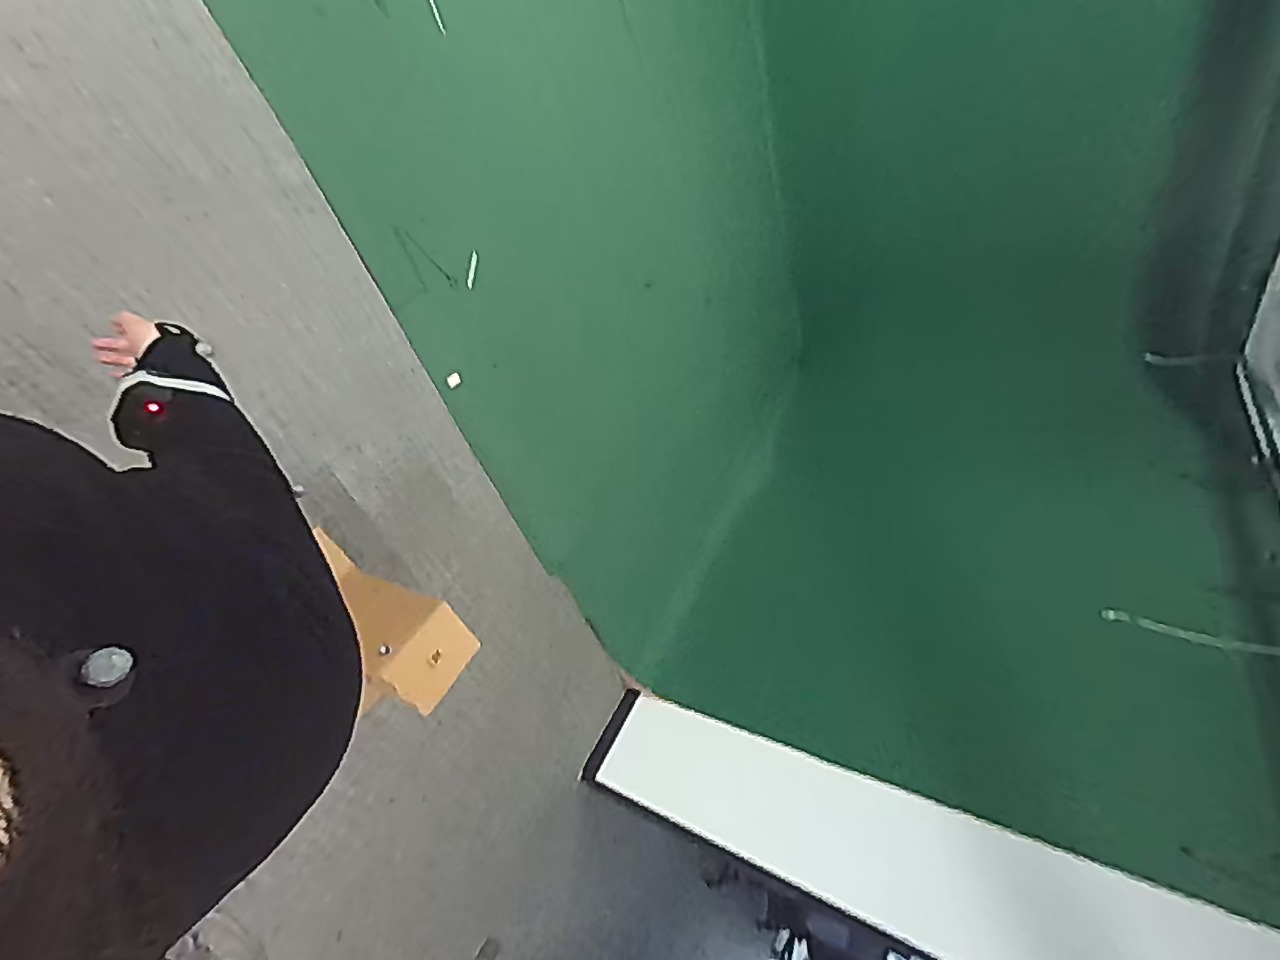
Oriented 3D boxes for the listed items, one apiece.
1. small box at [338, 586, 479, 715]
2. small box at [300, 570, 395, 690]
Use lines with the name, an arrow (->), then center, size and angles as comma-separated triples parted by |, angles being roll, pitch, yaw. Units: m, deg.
small box -> -0.481, 0.347, 1.128 | 0.179, 0.176, 0.168 | -54, 138, -35
small box -> -0.620, 0.329, 1.211 | 0.179, 0.176, 0.168 | -55, 139, -35
